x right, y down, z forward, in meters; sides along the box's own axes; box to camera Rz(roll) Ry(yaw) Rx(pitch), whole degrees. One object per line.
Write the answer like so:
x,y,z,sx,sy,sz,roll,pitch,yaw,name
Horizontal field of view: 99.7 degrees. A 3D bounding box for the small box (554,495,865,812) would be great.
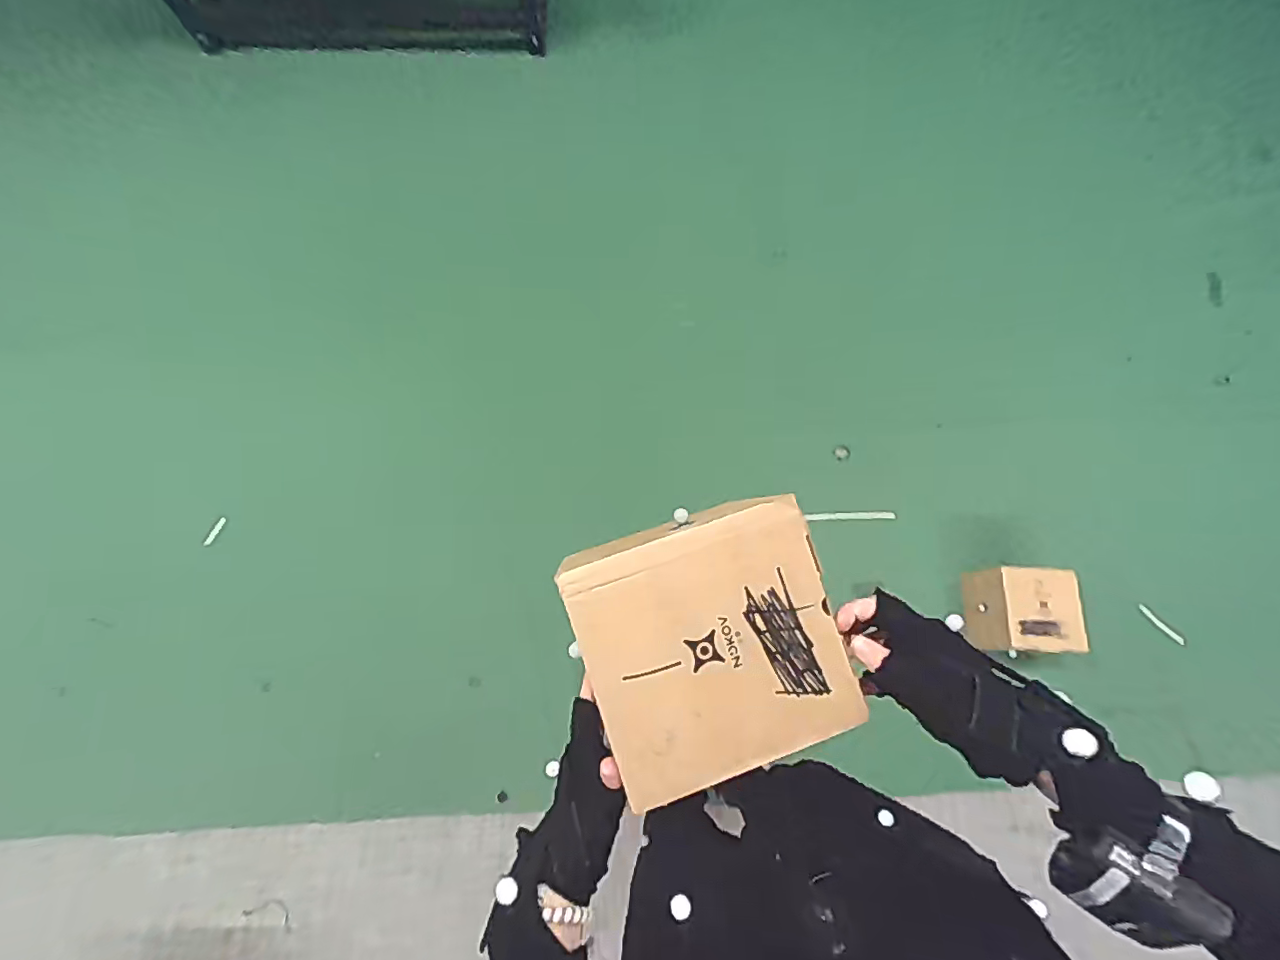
0.039,0.115,0.435,0.179,0.176,0.168,-18,87,-6,small box
